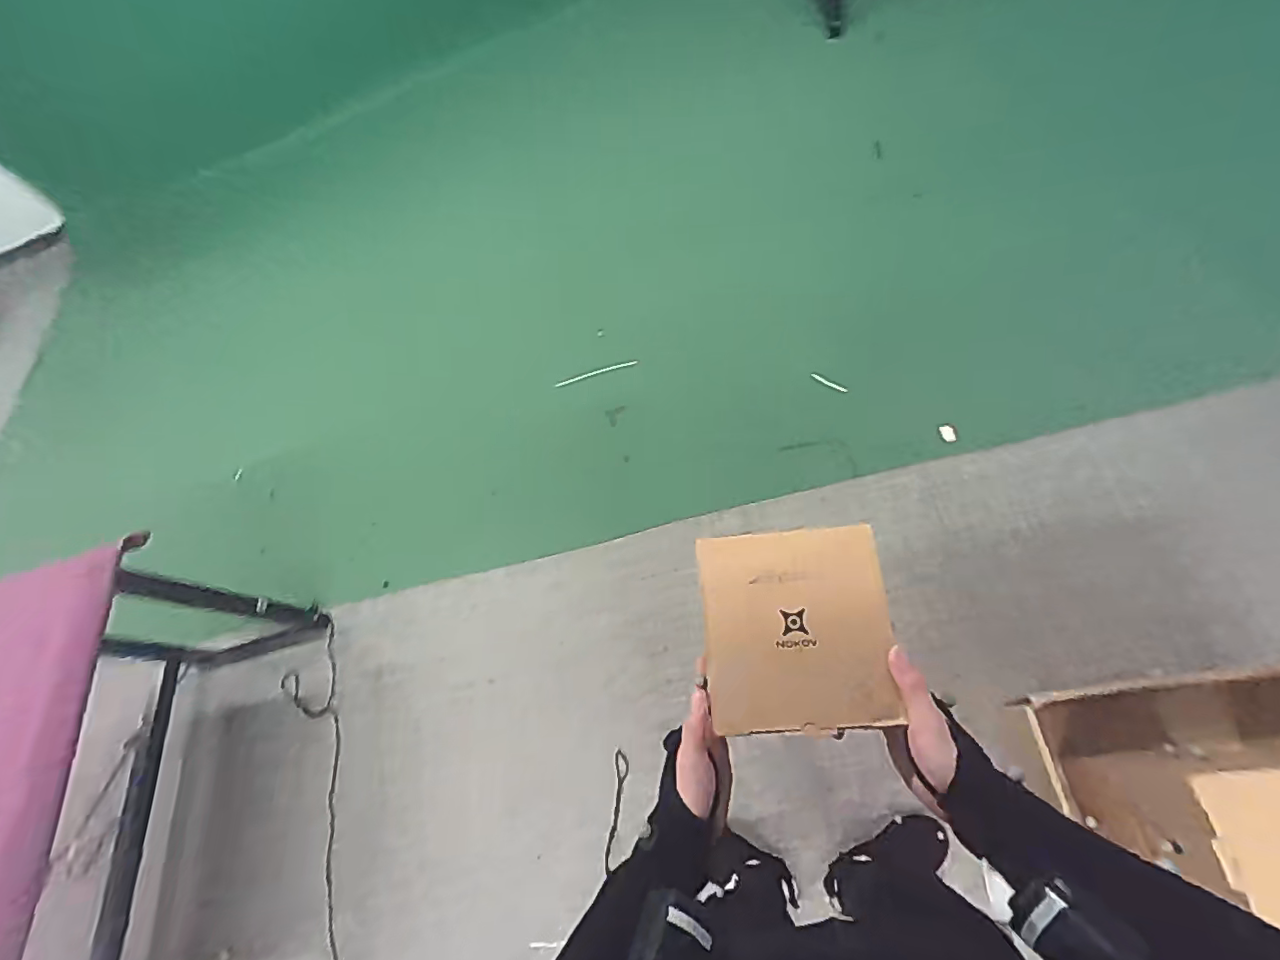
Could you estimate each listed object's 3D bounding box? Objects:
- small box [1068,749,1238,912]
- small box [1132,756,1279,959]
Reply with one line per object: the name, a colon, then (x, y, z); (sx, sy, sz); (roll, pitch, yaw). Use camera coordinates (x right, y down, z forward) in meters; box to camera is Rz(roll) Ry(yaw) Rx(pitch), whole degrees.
small box: (0.757, 0.476, 0.755); (0.179, 0.176, 0.168); (-10, 64, 11)
small box: (0.714, 0.413, 0.611); (0.179, 0.176, 0.168); (-11, 65, 12)
